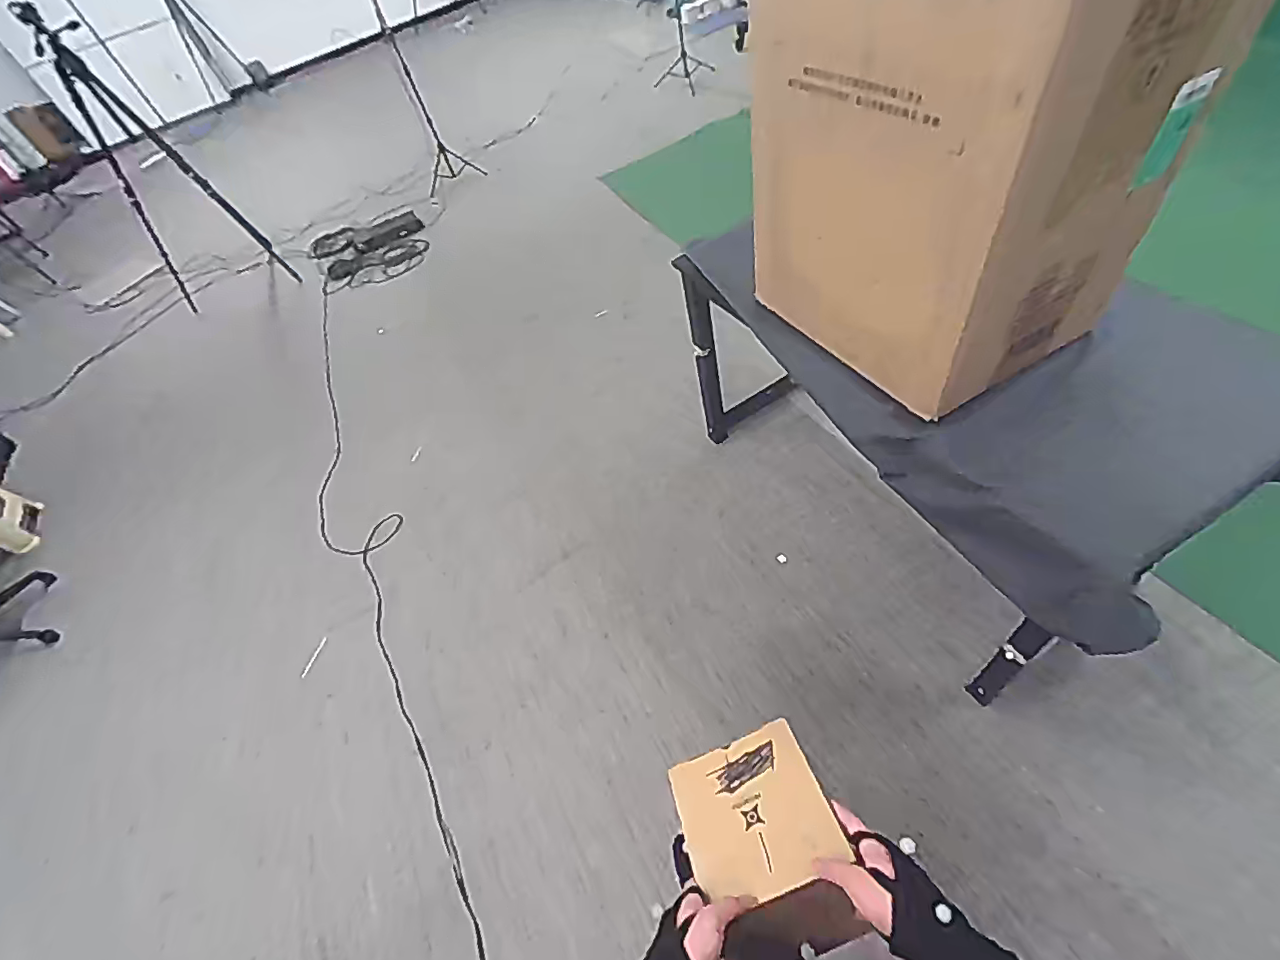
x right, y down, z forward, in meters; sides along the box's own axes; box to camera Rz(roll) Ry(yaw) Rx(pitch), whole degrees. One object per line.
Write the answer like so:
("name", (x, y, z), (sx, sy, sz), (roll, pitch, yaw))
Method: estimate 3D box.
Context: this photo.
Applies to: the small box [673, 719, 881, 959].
("small box", (0.159, 0.435, 0.648), (0.168, 0.176, 0.179), (-25, 28, 1))
